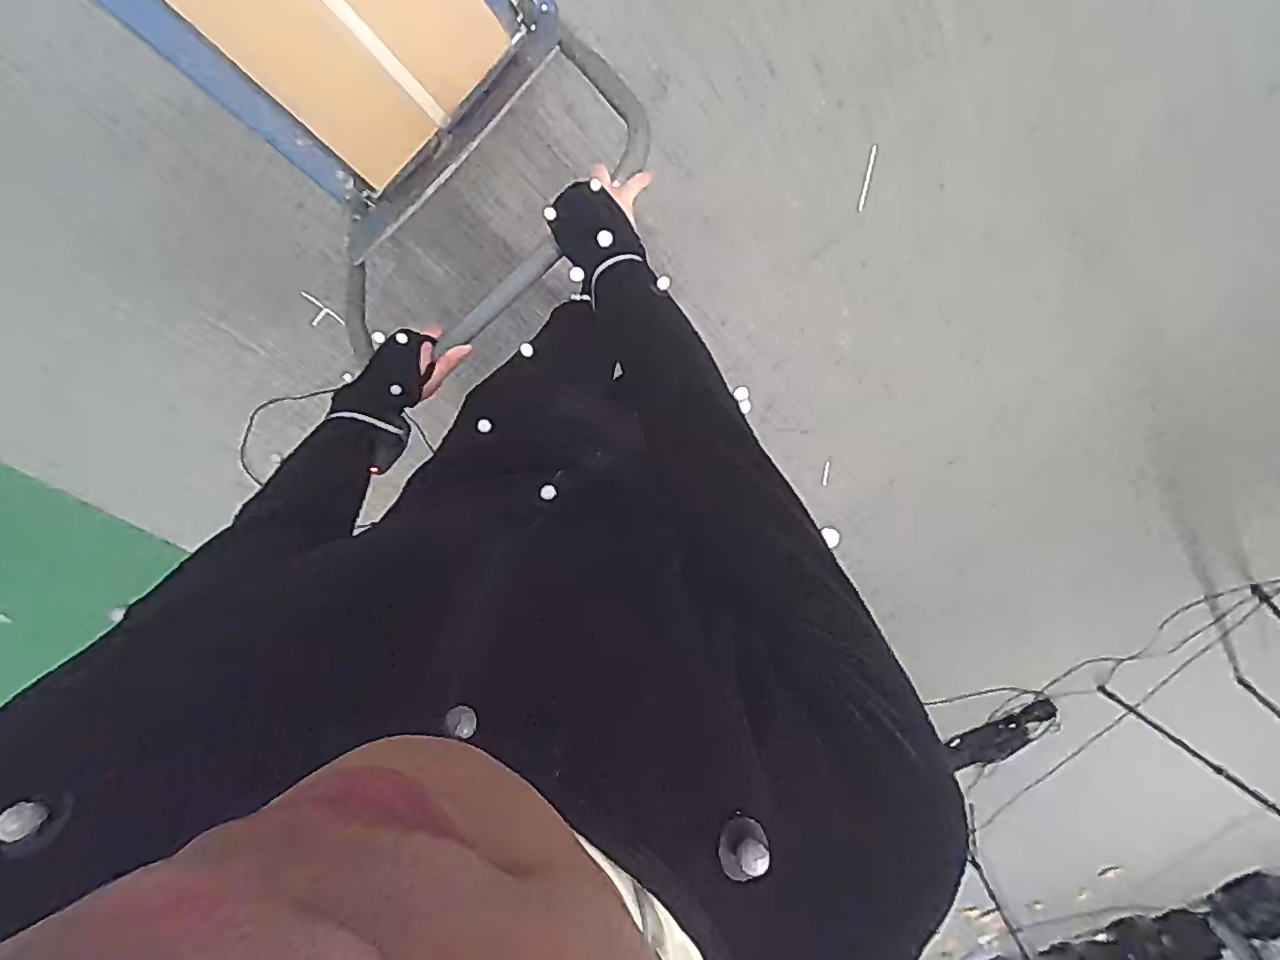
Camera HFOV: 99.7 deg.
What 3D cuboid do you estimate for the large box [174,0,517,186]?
[{"bbox_3d":[-0.444,-0.745,0.797,0.320,0.320,0.408,-37,135,16],"label":"large box"}]
